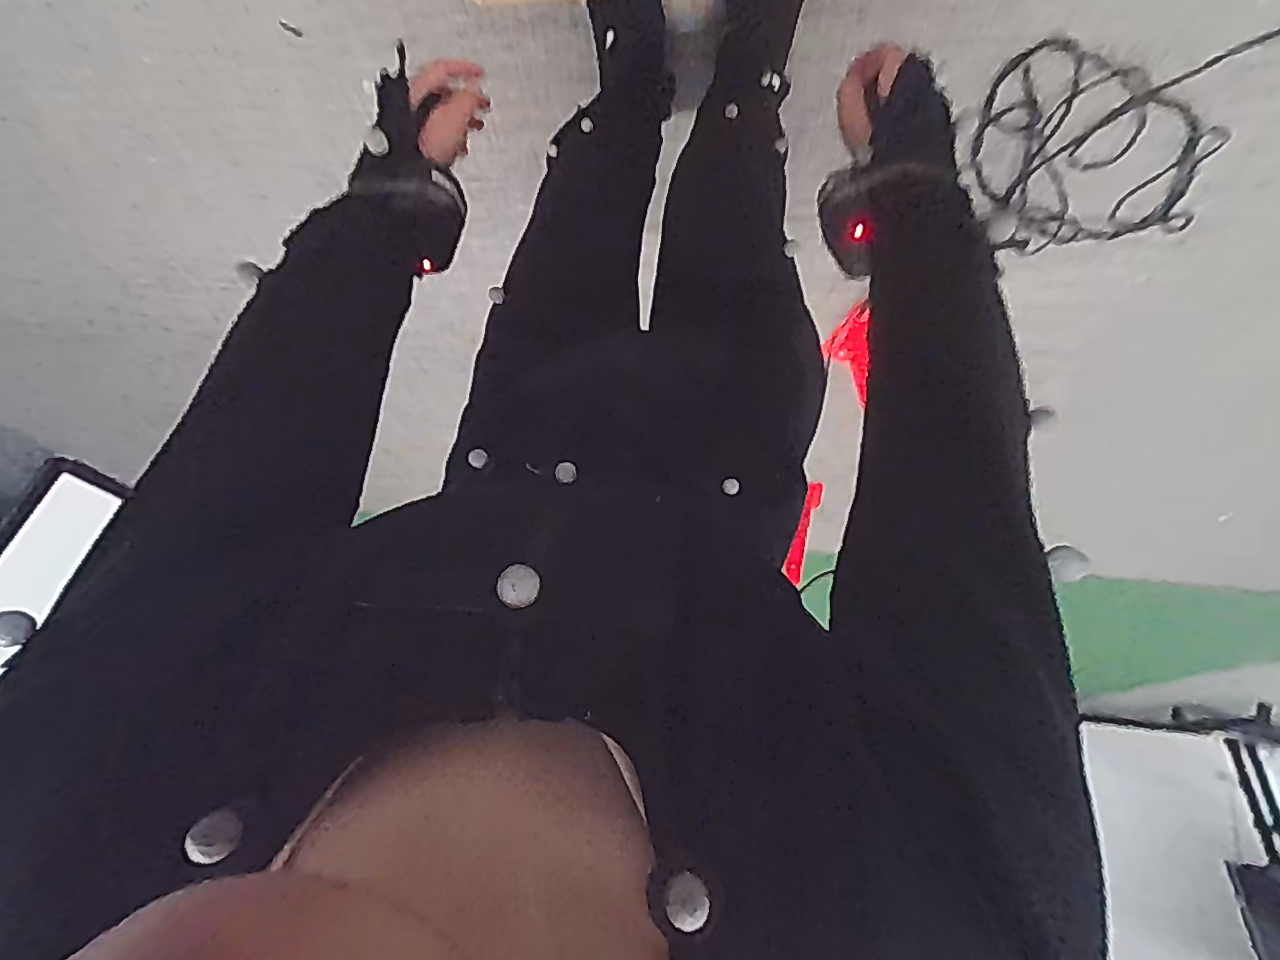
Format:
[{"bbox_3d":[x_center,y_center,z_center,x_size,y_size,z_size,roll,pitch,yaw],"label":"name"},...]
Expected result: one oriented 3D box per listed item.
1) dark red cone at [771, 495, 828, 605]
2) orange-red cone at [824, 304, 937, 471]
[{"bbox_3d":[0.565,0.247,1.921,0.202,0.394,0.201,0,153,15],"label":"dark red cone"},{"bbox_3d":[0.545,-0.182,1.204,0.199,0.360,0.198,13,152,-9],"label":"orange-red cone"}]
